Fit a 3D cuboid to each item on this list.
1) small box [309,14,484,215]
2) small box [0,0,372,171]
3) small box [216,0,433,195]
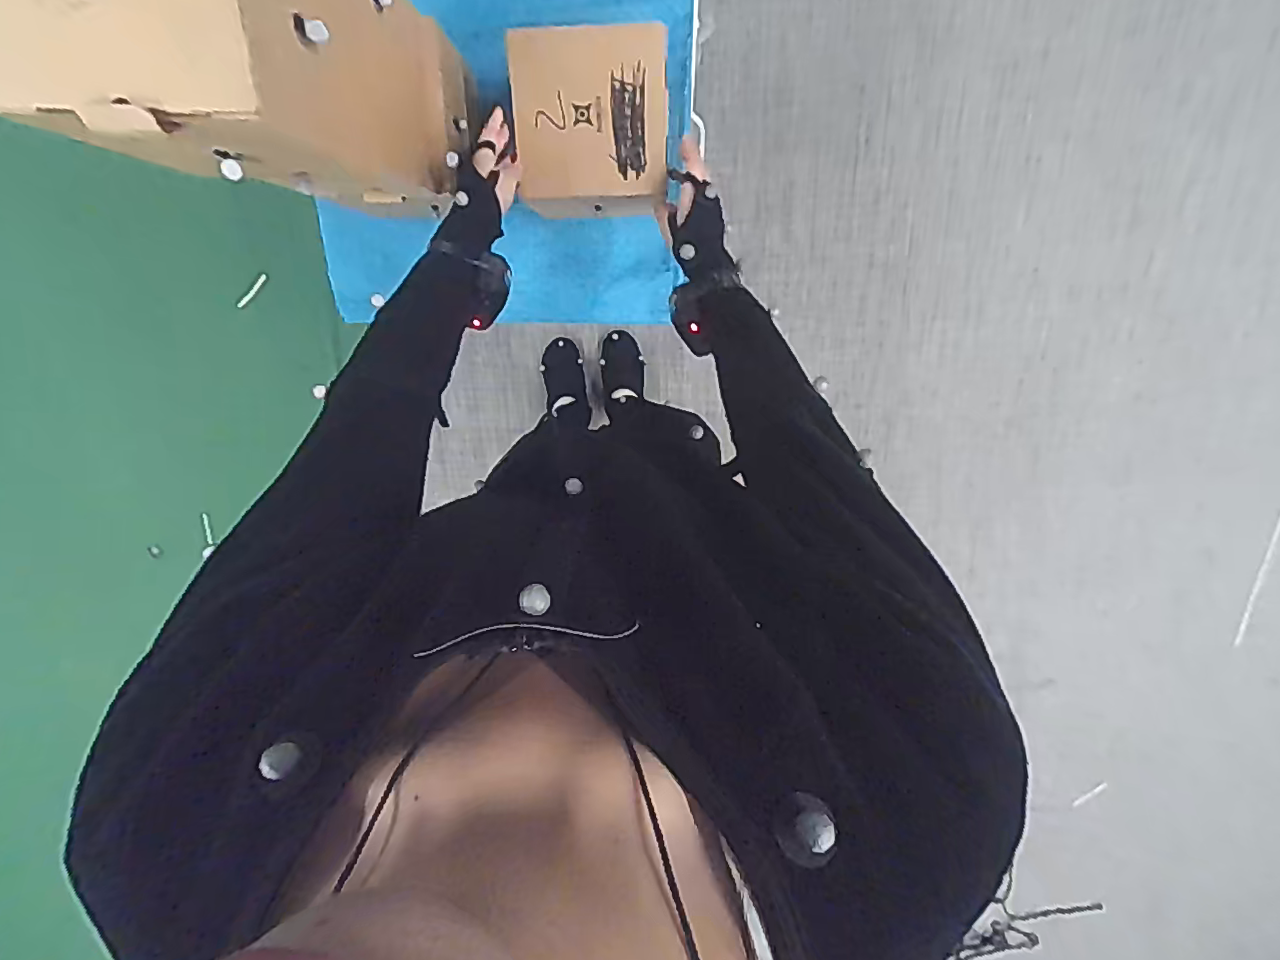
[{"bbox_3d":[-0.300,-0.437,0.673,0.168,0.176,0.179,1,108,-1],"label":"small box"},{"bbox_3d":[-0.304,-0.325,0.367,0.168,0.176,0.179,2,108,-2],"label":"small box"},{"bbox_3d":[-0.311,-0.387,0.520,0.168,0.176,0.179,2,107,-2],"label":"small box"}]
